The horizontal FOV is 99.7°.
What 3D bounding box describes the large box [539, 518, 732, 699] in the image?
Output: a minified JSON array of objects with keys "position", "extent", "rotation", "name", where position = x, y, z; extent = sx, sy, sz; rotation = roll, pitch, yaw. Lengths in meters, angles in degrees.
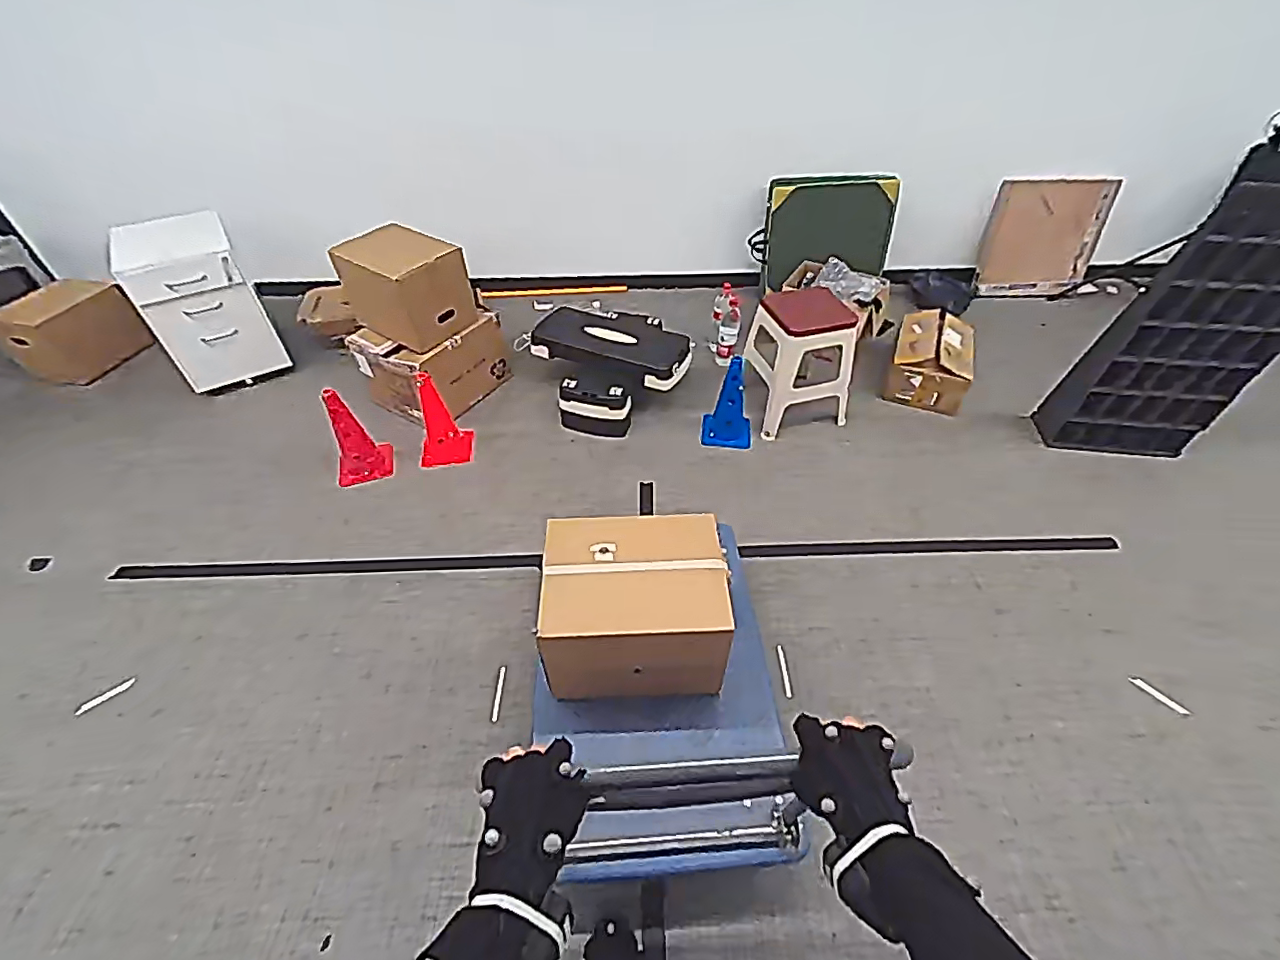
[{"position":[-0.011,0.314,1.312],"extent":[0.408,0.320,0.320],"rotation":[-3,46,-1],"name":"large box"}]
